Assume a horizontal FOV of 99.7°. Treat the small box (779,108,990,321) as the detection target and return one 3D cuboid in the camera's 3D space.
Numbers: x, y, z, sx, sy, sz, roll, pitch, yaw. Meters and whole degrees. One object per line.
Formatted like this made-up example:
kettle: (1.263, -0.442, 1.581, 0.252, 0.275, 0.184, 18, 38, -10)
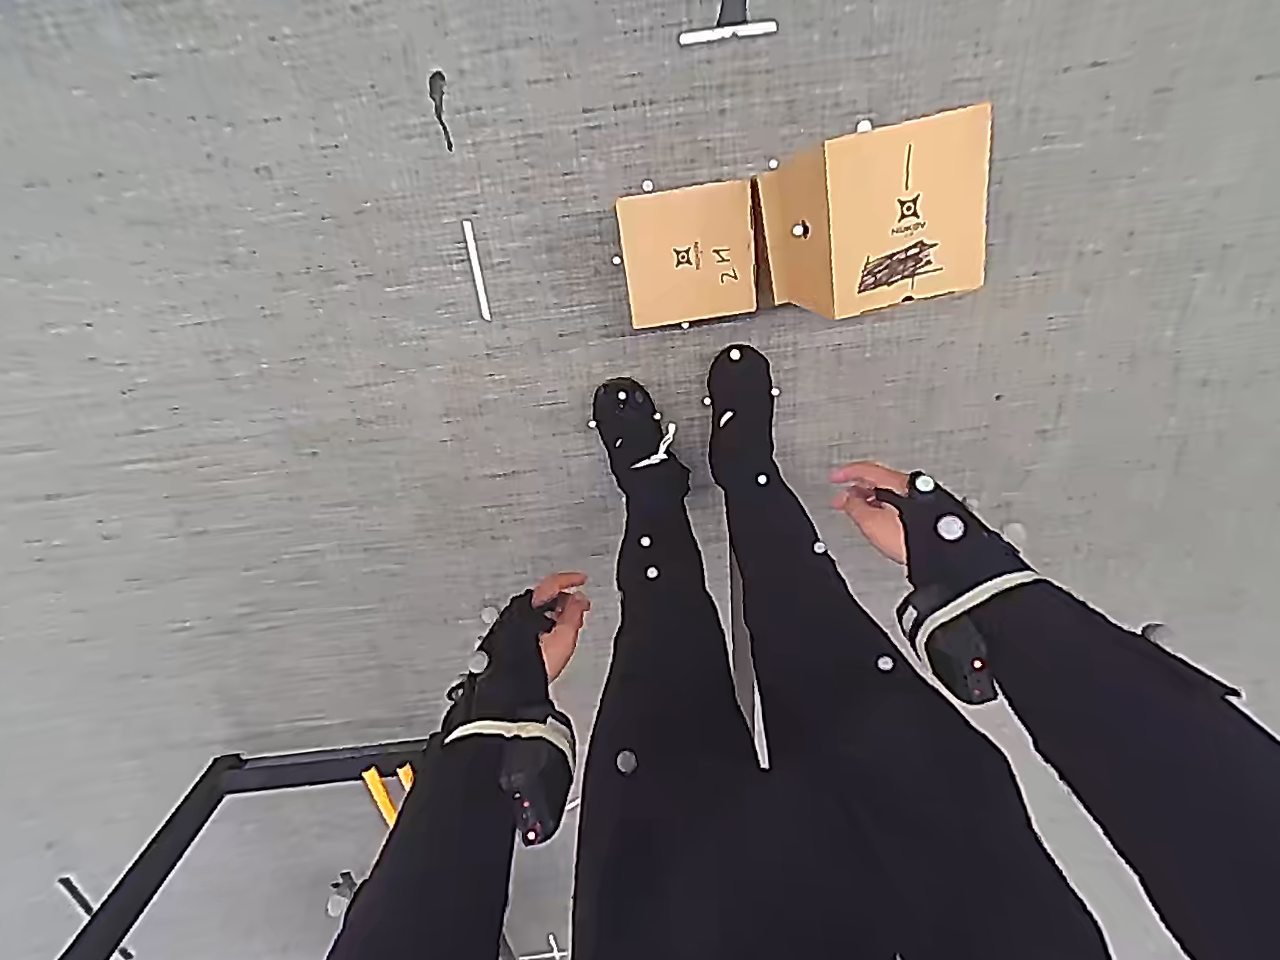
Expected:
small box: (0.270, -0.301, 0.631, 0.168, 0.176, 0.179, -12, 114, 3)
